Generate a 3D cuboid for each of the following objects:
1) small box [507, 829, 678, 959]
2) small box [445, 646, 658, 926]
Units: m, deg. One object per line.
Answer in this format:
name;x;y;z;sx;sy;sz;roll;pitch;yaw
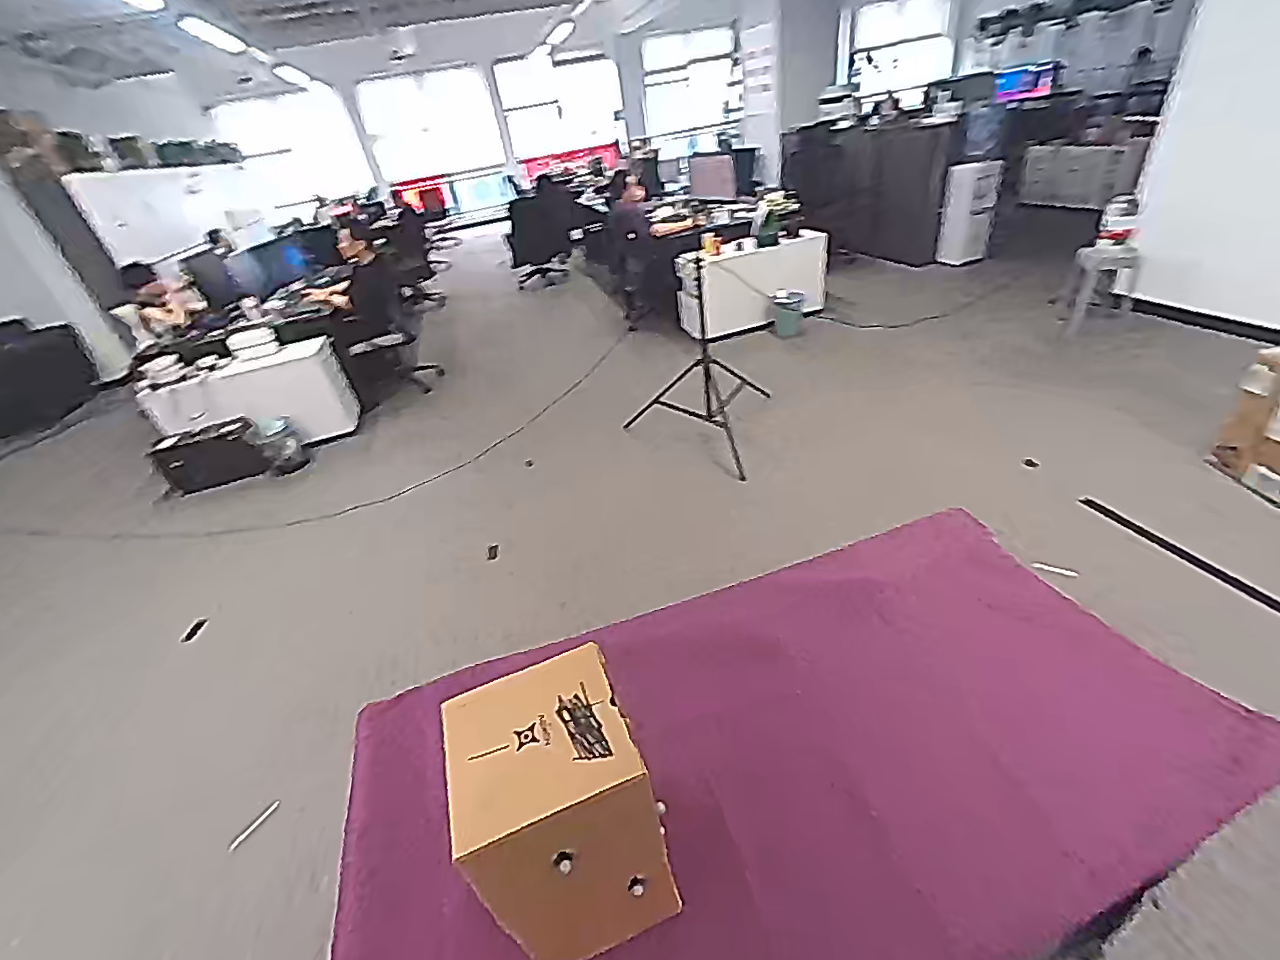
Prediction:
small box;-0.068;0.452;0.668;0.179;0.176;0.168;-18;34;-13
small box;-0.089;0.318;0.575;0.179;0.176;0.168;-19;34;-13
